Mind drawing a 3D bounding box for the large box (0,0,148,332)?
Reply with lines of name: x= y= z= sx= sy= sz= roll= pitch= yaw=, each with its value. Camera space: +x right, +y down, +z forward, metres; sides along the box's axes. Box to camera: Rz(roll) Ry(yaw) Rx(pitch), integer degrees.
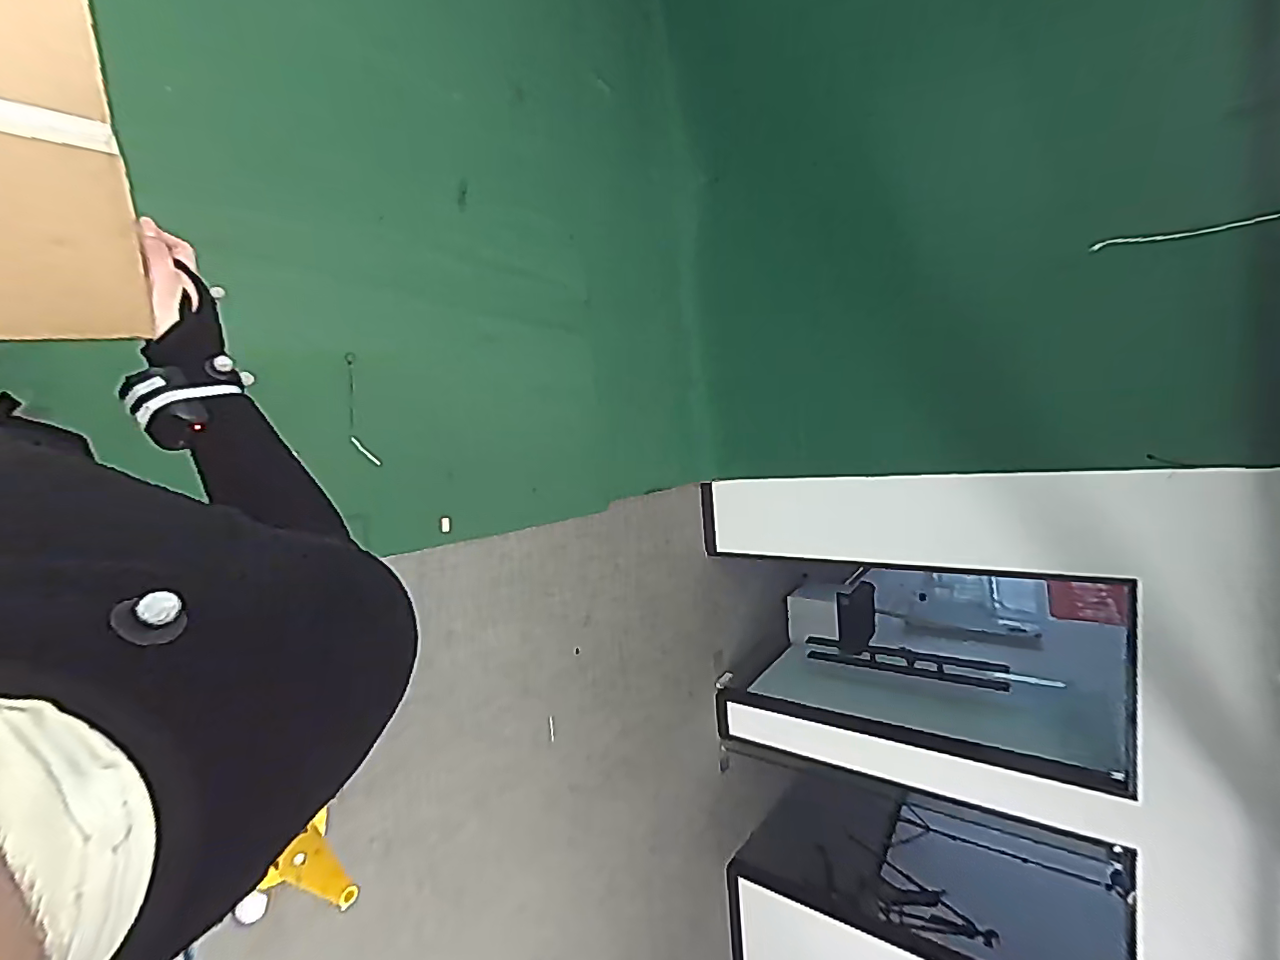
large box: x=-0.667 y=-0.268 z=0.356 sx=0.408 sy=0.320 sz=0.320 roll=-23 pitch=123 yaw=-54
